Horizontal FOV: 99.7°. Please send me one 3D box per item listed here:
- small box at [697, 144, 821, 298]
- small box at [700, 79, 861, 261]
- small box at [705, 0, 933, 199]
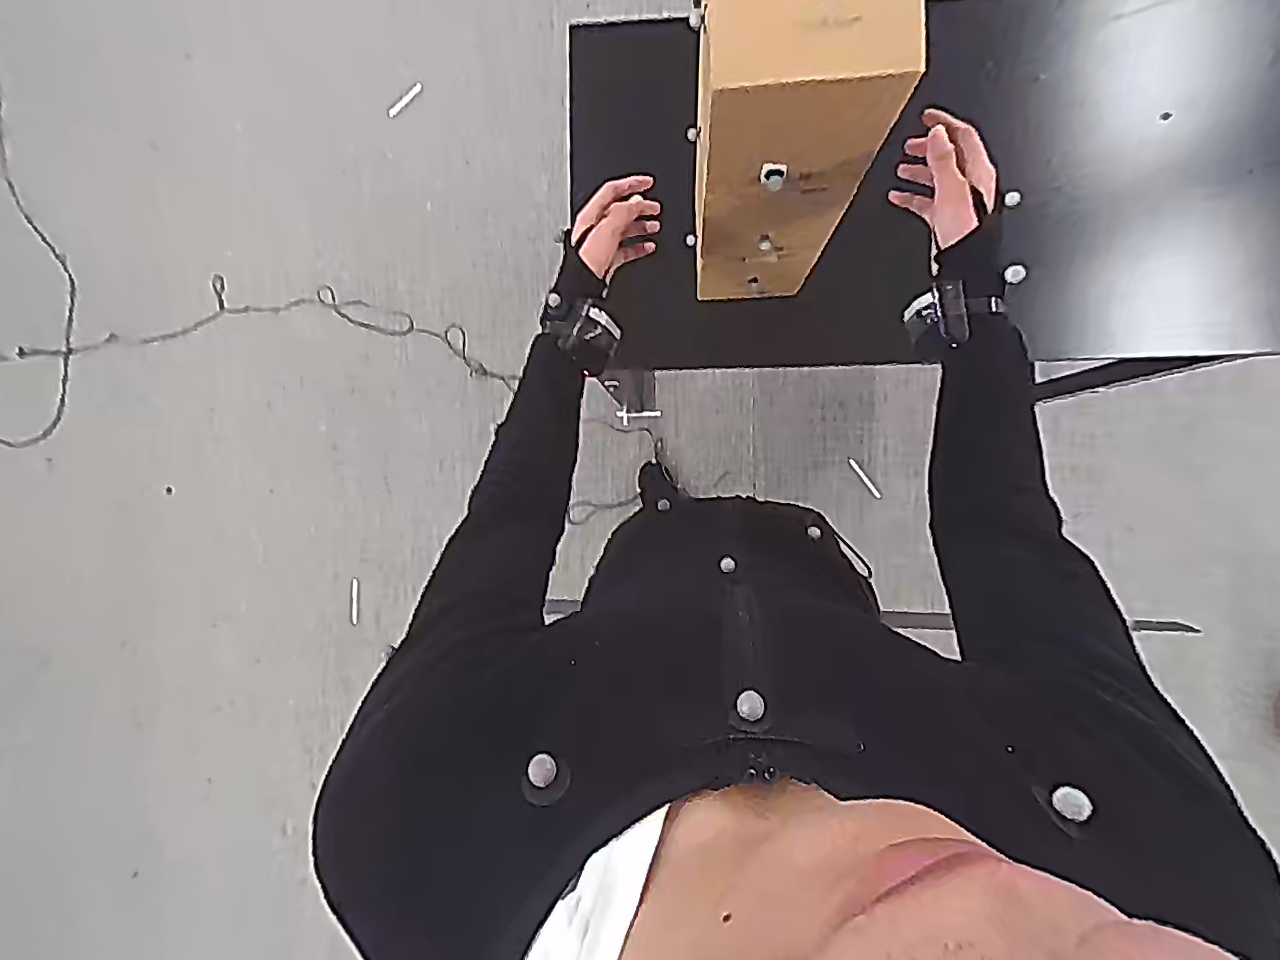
[{"bbox_3d":[0.172,-0.387,0.823,0.168,0.176,0.179,-2,90,5],"label":"small box"},{"bbox_3d":[0.159,-0.390,0.659,0.168,0.176,0.179,-1,89,5],"label":"small box"},{"bbox_3d":[0.146,-0.391,0.496,0.168,0.176,0.179,-2,89,6],"label":"small box"}]
